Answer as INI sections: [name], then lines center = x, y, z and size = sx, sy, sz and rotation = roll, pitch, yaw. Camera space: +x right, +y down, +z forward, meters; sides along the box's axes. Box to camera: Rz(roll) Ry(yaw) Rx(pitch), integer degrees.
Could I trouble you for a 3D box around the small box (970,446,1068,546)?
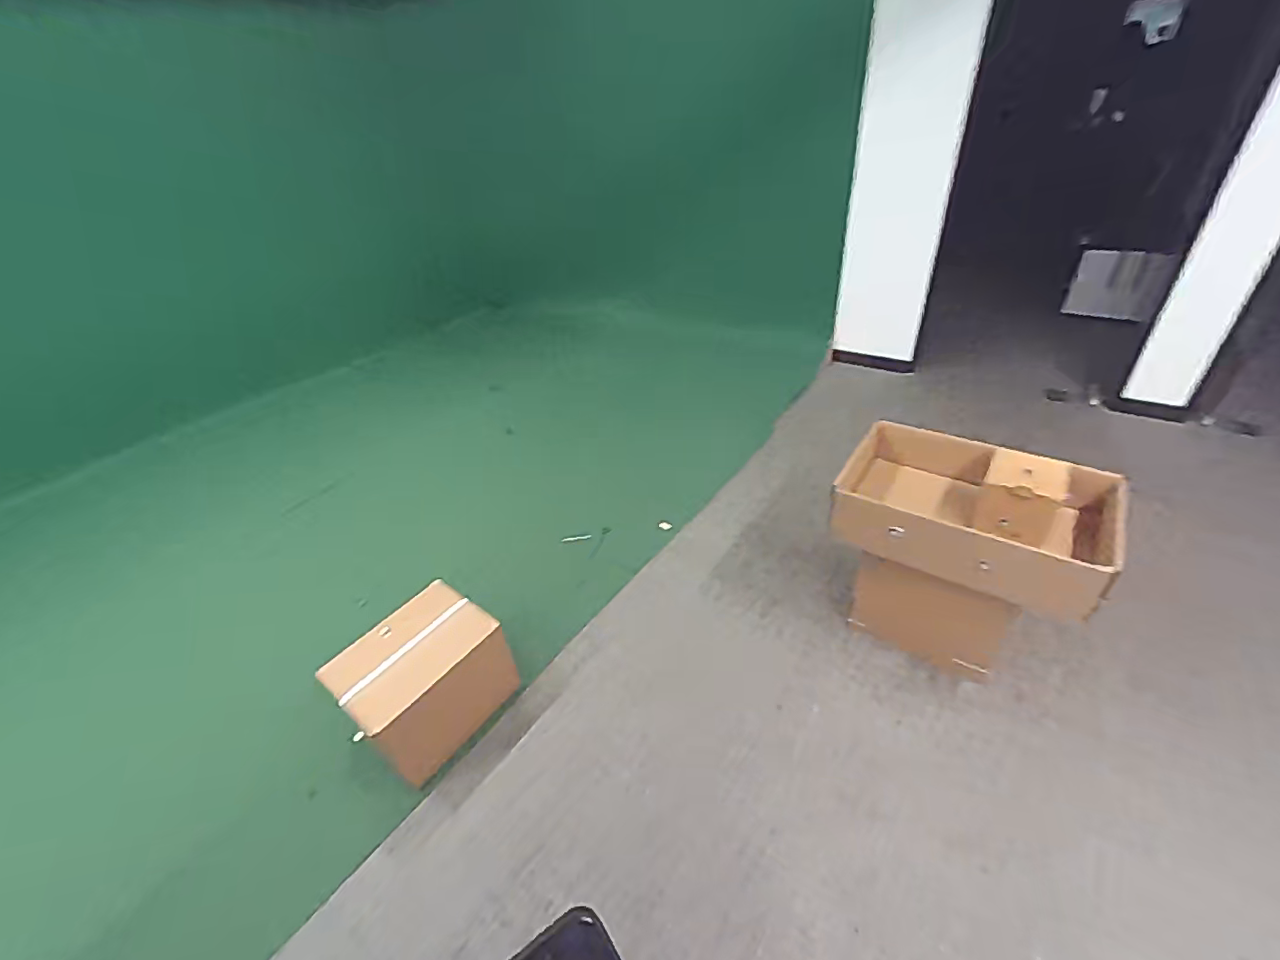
[small box]
center = 0.992, 0.041, 1.421
size = 0.168, 0.176, 0.179
rotation = 19, 45, 31
